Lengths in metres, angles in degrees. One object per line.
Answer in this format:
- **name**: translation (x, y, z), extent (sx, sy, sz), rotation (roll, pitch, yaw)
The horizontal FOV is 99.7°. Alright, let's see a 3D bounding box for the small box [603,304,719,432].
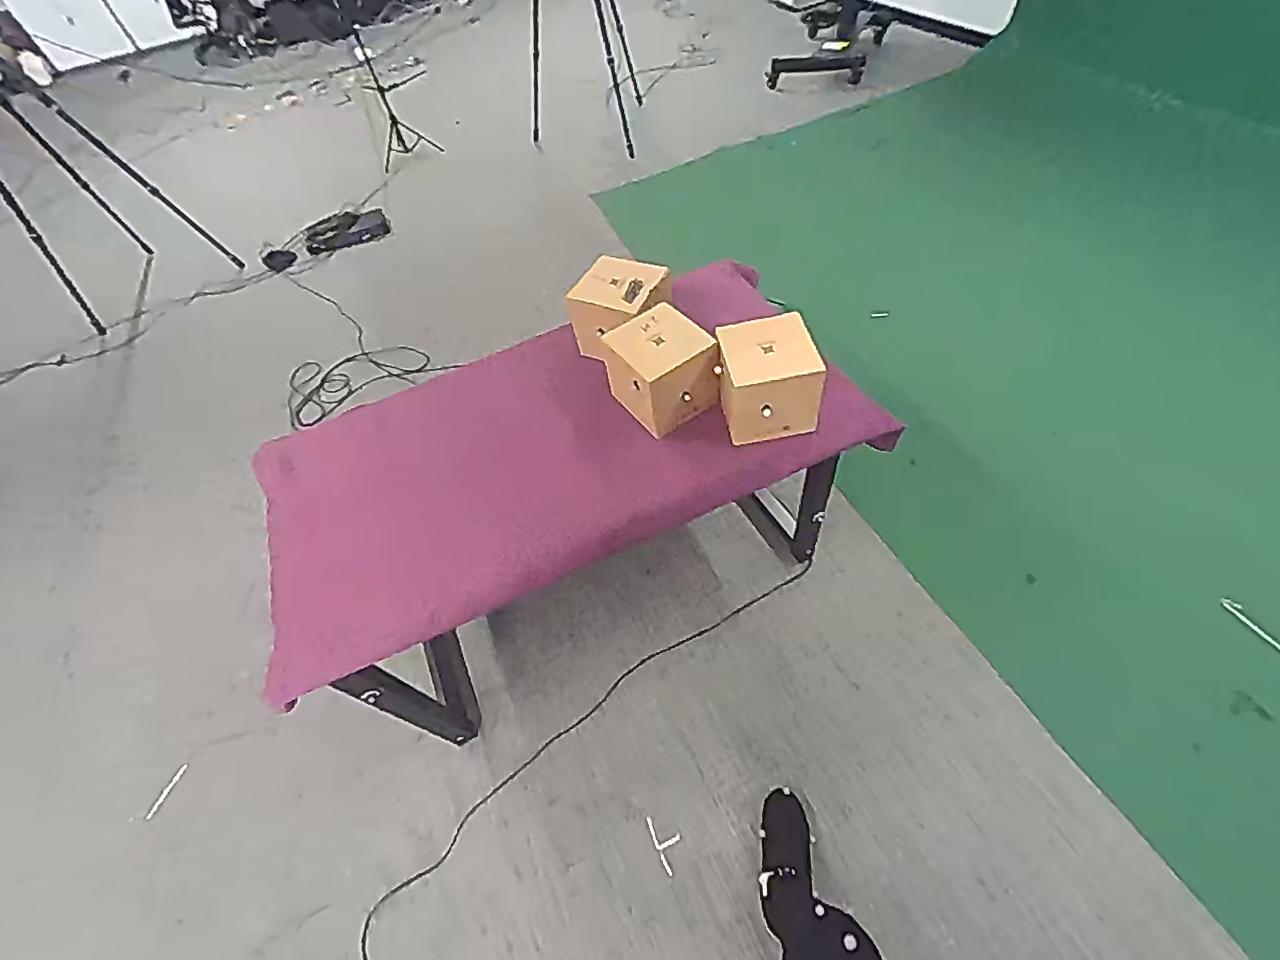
- **small box**: translation (0.048, -0.222, 1.112), extent (0.168, 0.176, 0.179), rotation (-32, 56, -14)

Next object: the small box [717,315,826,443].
- **small box**: translation (0.250, -0.189, 1.057), extent (0.168, 0.176, 0.179), rotation (-10, 52, 3)
